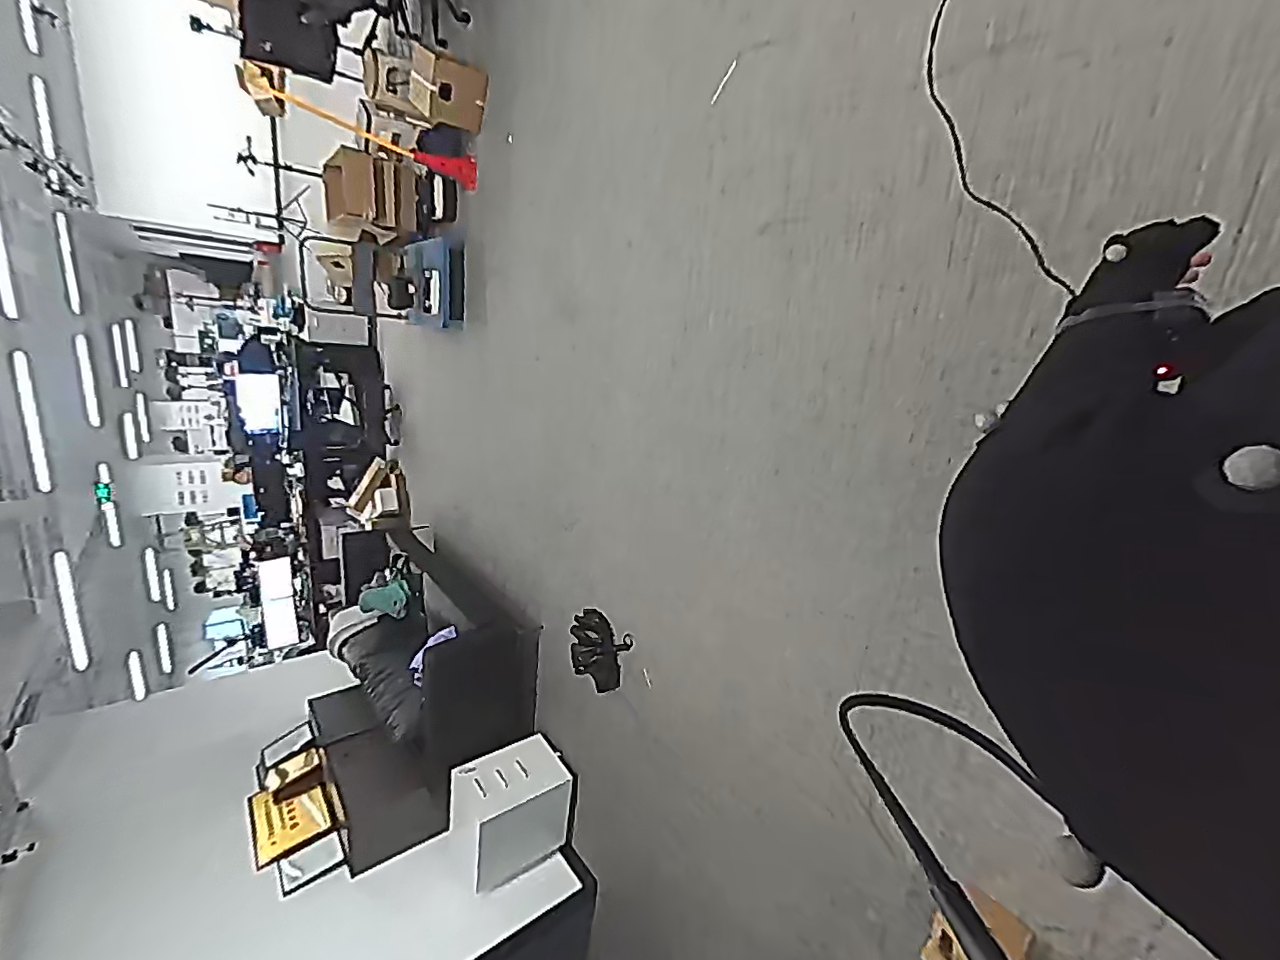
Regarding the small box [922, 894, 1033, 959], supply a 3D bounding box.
[{"bbox_3d":[0.861,1.213,1.382,0.179,0.176,0.168,24,114,46],"label":"small box"}]
